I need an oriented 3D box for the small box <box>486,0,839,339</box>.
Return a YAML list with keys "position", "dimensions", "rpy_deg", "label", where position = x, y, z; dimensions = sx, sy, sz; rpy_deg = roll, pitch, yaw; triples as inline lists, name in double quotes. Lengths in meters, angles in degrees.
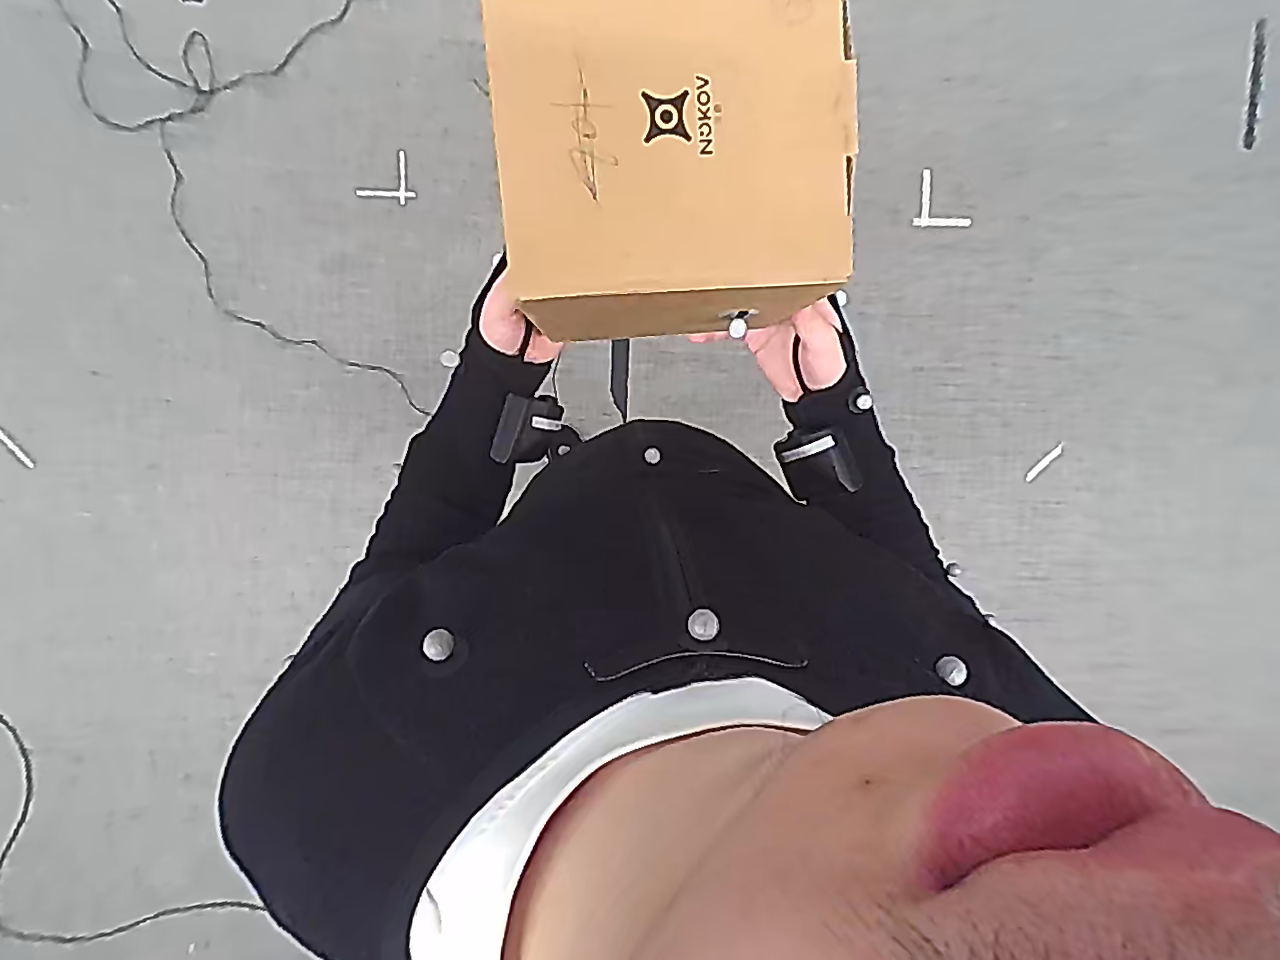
- position: [0.011, -0.190, 0.353]
  dimensions: [0.179, 0.176, 0.168]
  rpy_deg: [-4, 97, -2]
  label: "small box"
